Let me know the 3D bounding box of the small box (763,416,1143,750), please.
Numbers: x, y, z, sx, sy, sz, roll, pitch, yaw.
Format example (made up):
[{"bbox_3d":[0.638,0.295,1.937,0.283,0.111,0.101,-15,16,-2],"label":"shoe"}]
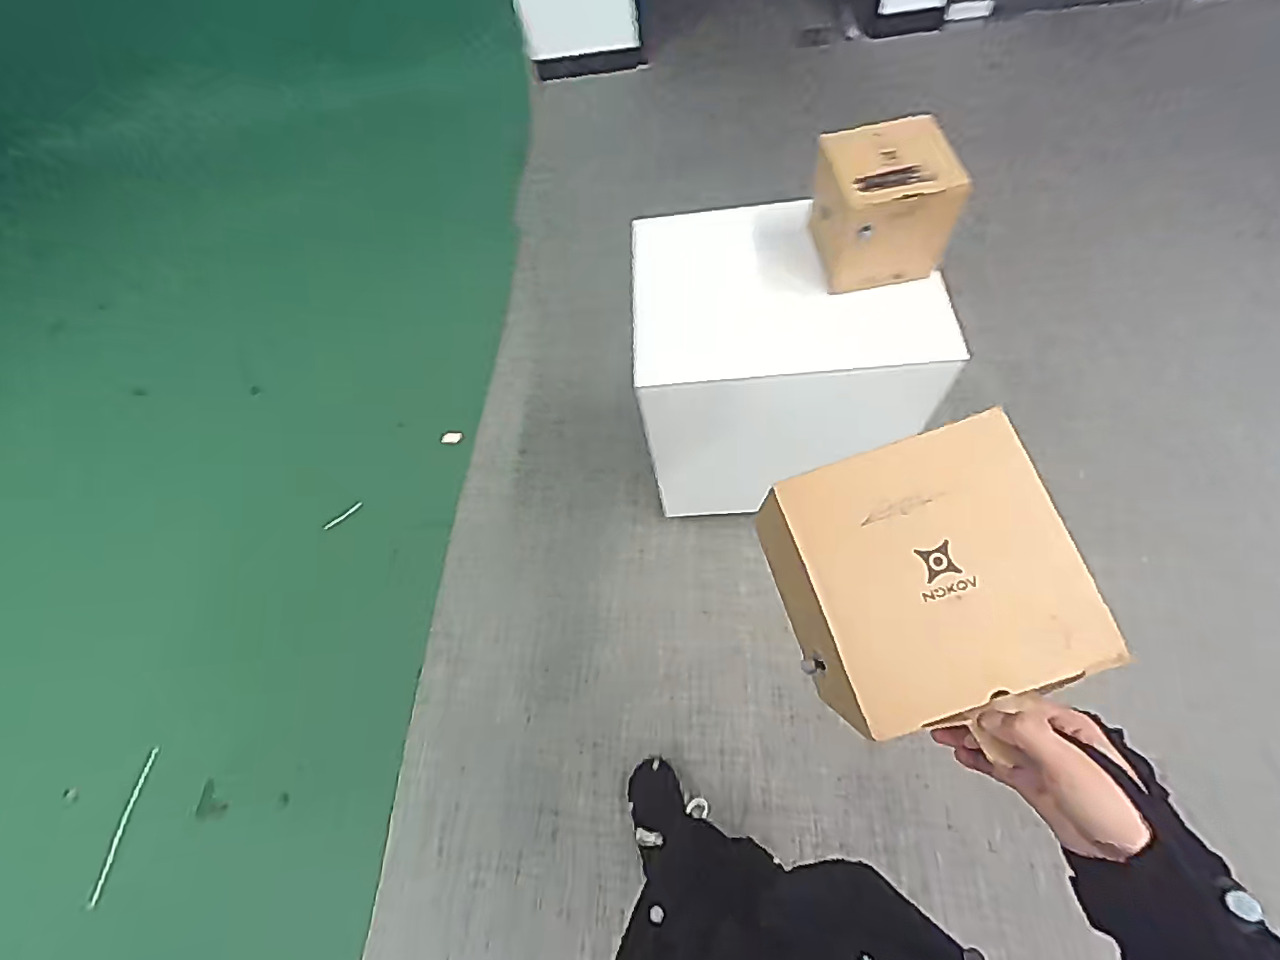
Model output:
[{"bbox_3d":[0.209,0.078,0.423,0.168,0.176,0.179,-19,75,1],"label":"small box"}]
